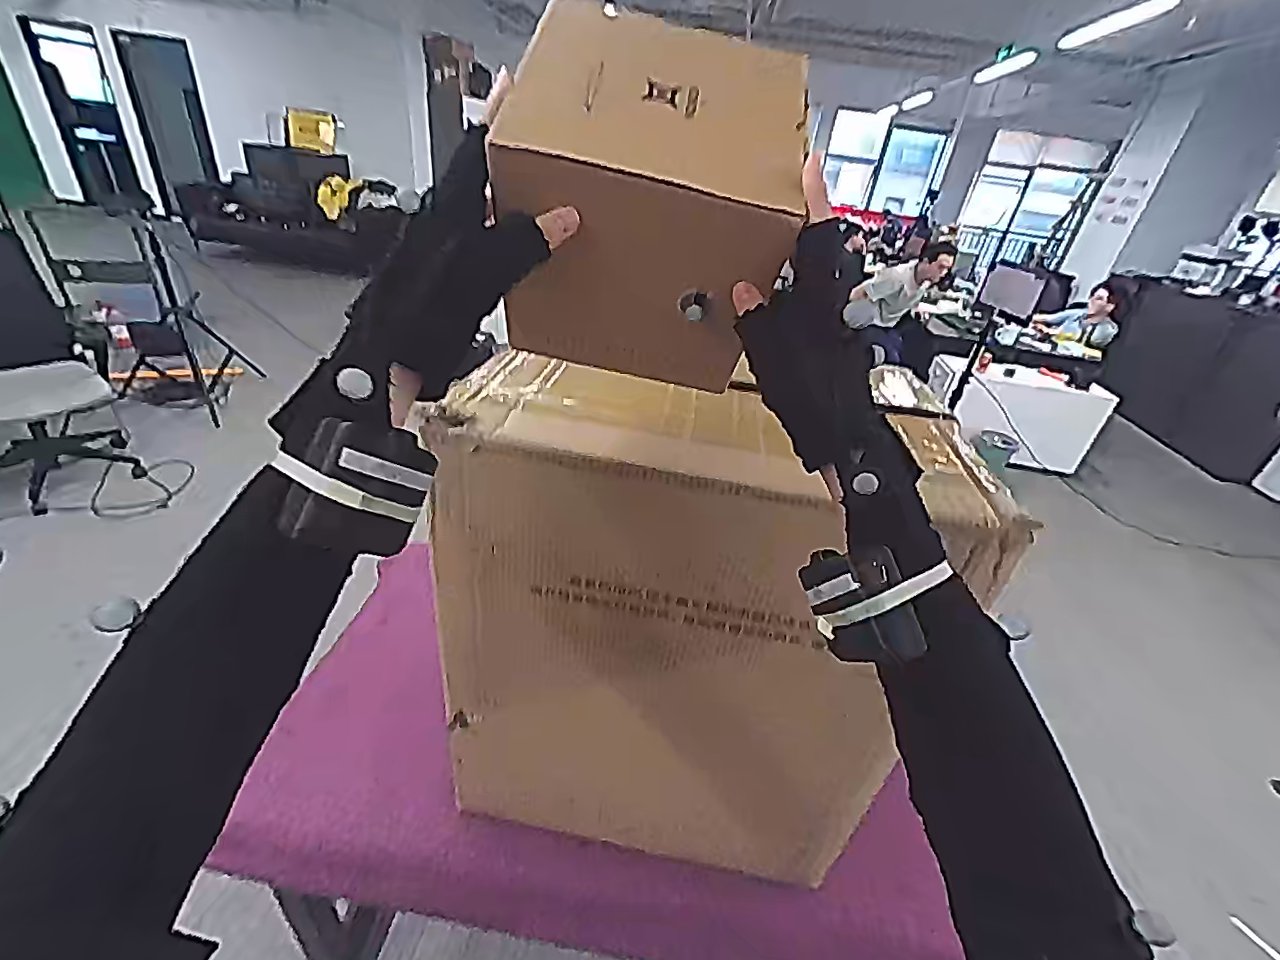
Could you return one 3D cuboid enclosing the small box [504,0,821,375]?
[{"bbox_3d":[0.013,-0.200,0.395,0.179,0.176,0.168,10,61,-3],"label":"small box"}]
